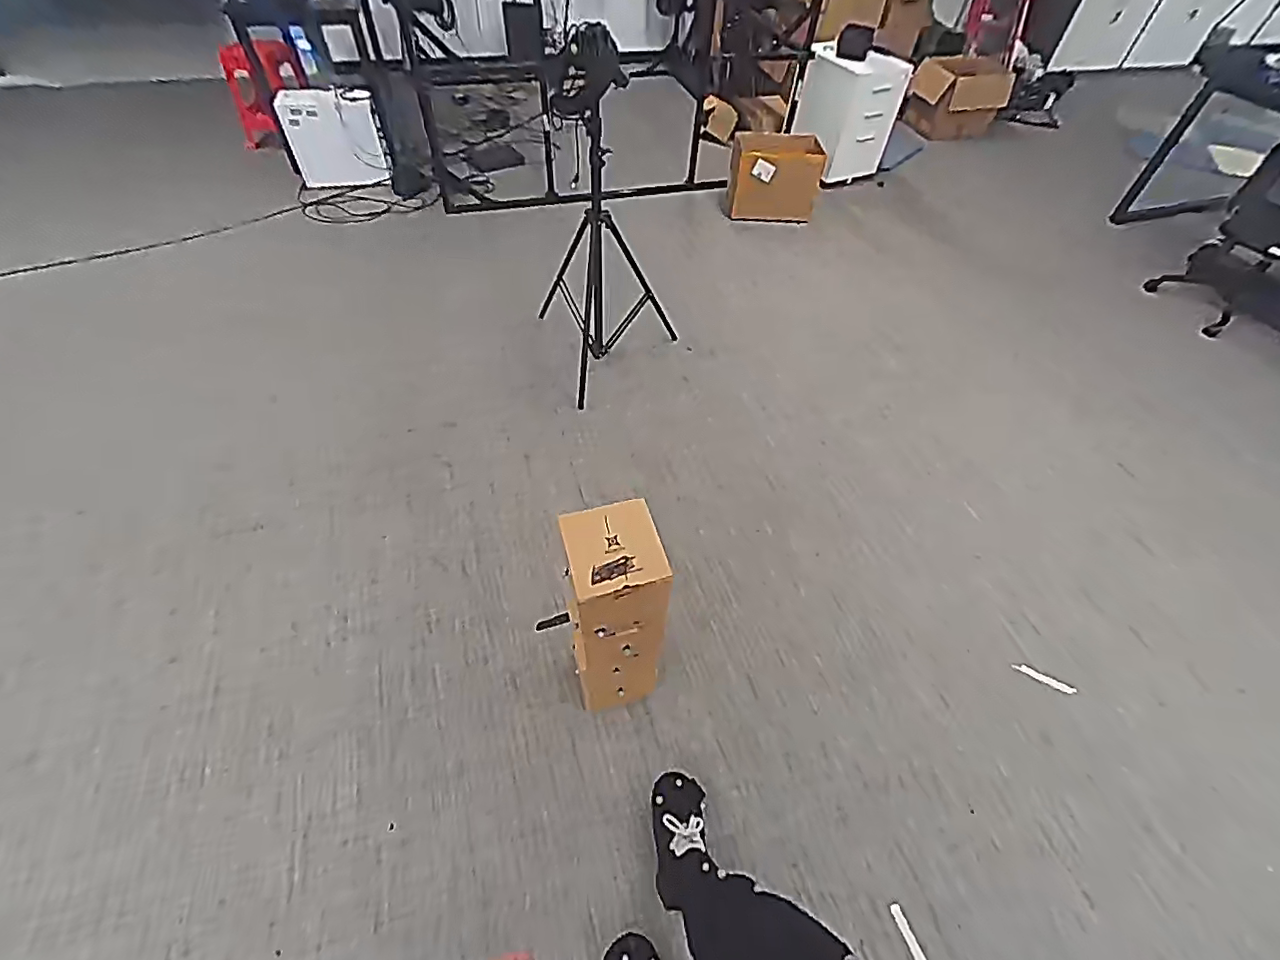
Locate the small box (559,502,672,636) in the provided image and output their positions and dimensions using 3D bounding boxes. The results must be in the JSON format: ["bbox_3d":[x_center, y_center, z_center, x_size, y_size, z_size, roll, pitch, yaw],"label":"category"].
[{"bbox_3d":[-0.047,0.171,0.996,0.168,0.176,0.179,-12,53,-12],"label":"small box"}]

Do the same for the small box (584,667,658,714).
[{"bbox_3d":[-0.065,0.475,1.382,0.179,0.176,0.168,-12,54,-12],"label":"small box"}]

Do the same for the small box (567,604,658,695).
[{"bbox_3d":[-0.064,0.378,1.250,0.179,0.176,0.168,-10,54,-11],"label":"small box"}]

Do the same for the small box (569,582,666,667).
[{"bbox_3d":[-0.050,0.273,1.124,0.168,0.176,0.179,-11,54,-11],"label":"small box"}]
